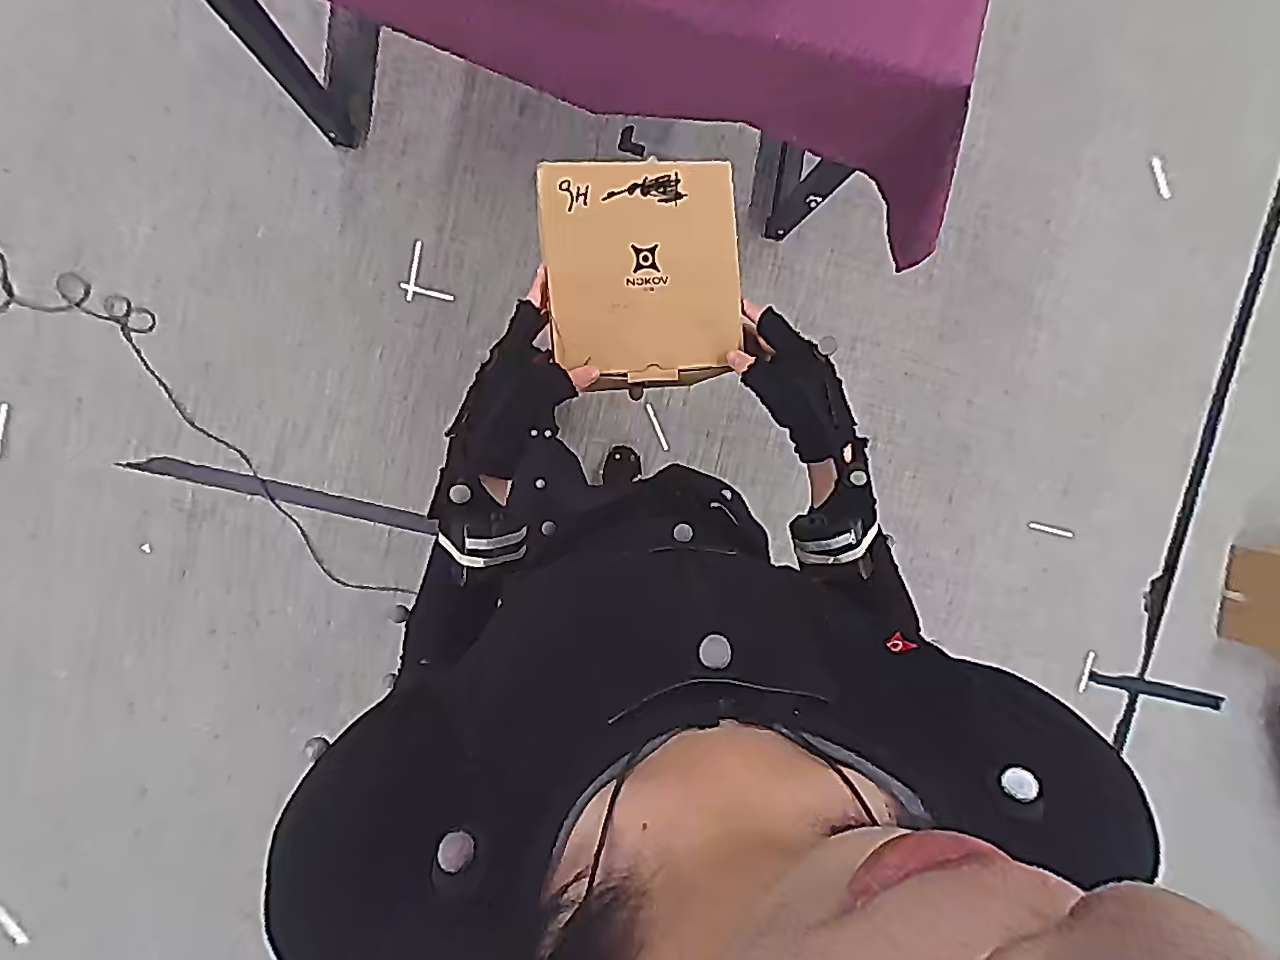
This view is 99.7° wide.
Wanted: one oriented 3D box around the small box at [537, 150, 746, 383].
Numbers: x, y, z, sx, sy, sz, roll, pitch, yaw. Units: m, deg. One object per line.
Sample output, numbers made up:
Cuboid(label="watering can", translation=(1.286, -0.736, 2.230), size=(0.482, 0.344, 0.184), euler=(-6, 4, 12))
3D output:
Cuboid(label="small box", translation=(-0.006, -0.188, 0.523), size=(0.168, 0.176, 0.179), euler=(-6, 96, -9))
